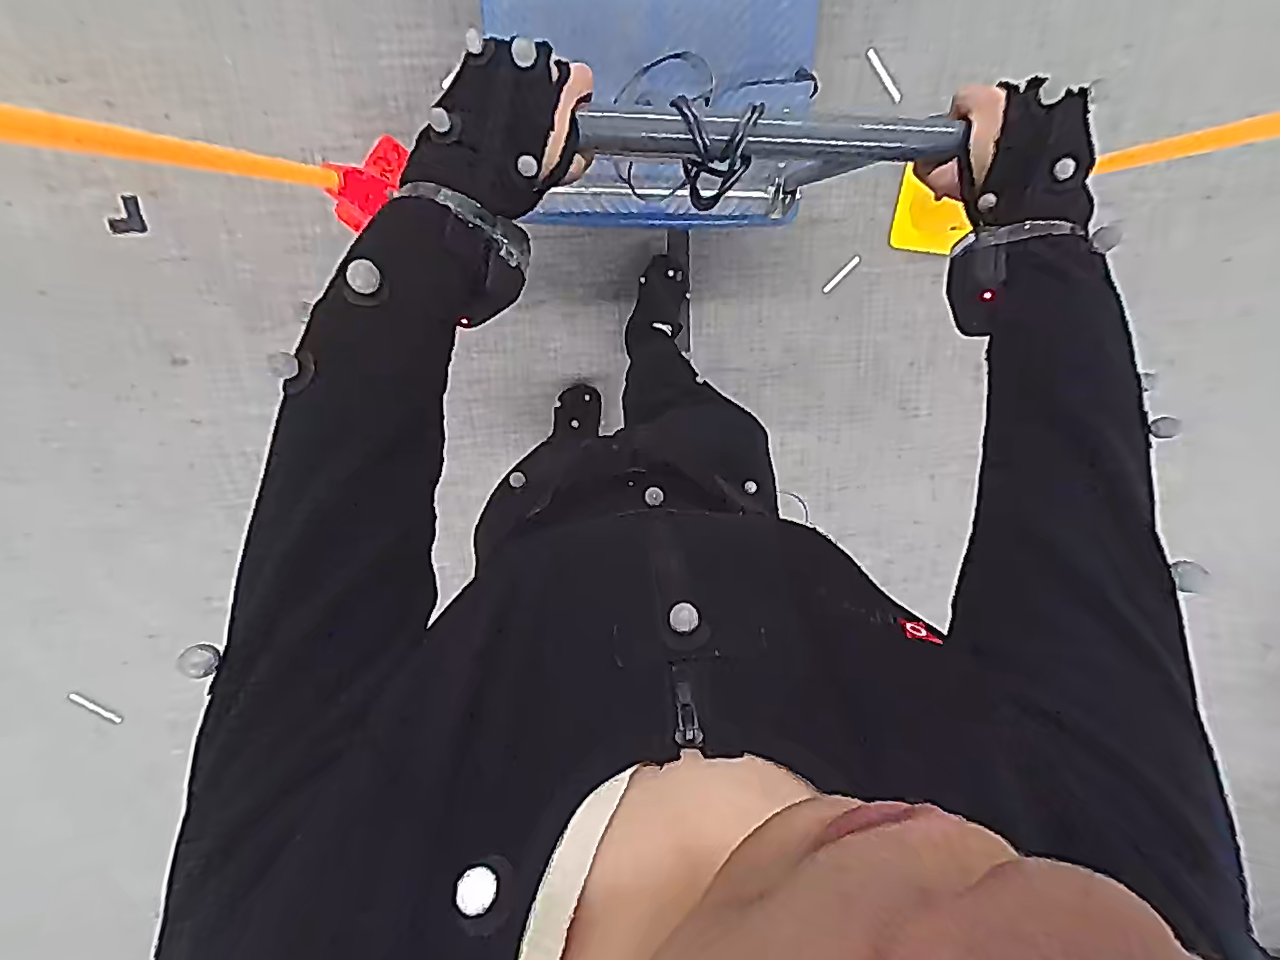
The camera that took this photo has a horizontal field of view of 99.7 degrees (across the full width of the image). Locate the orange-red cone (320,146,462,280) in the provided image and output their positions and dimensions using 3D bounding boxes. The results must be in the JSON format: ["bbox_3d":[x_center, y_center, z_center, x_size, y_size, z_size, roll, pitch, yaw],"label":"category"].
[{"bbox_3d":[-0.478,-0.495,0.961,0.198,0.360,0.199,40,99,-18],"label":"orange-red cone"}]
